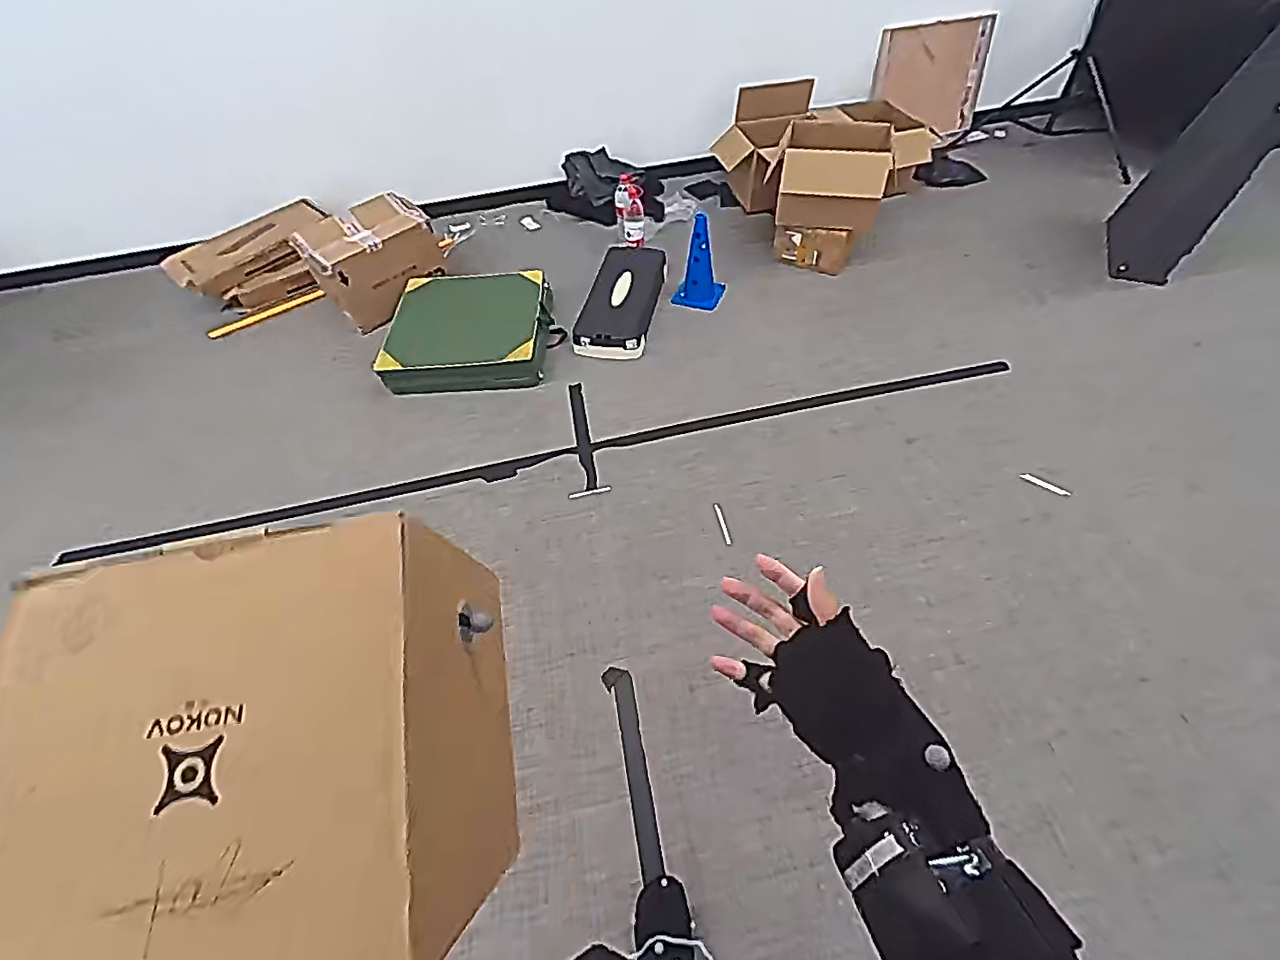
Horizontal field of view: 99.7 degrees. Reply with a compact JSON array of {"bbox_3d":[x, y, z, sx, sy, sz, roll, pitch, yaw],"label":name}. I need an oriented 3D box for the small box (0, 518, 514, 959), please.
[{"bbox_3d":[-0.170,0.136,0.295,0.168,0.176,0.179,-8,70,-4],"label":"small box"}]
